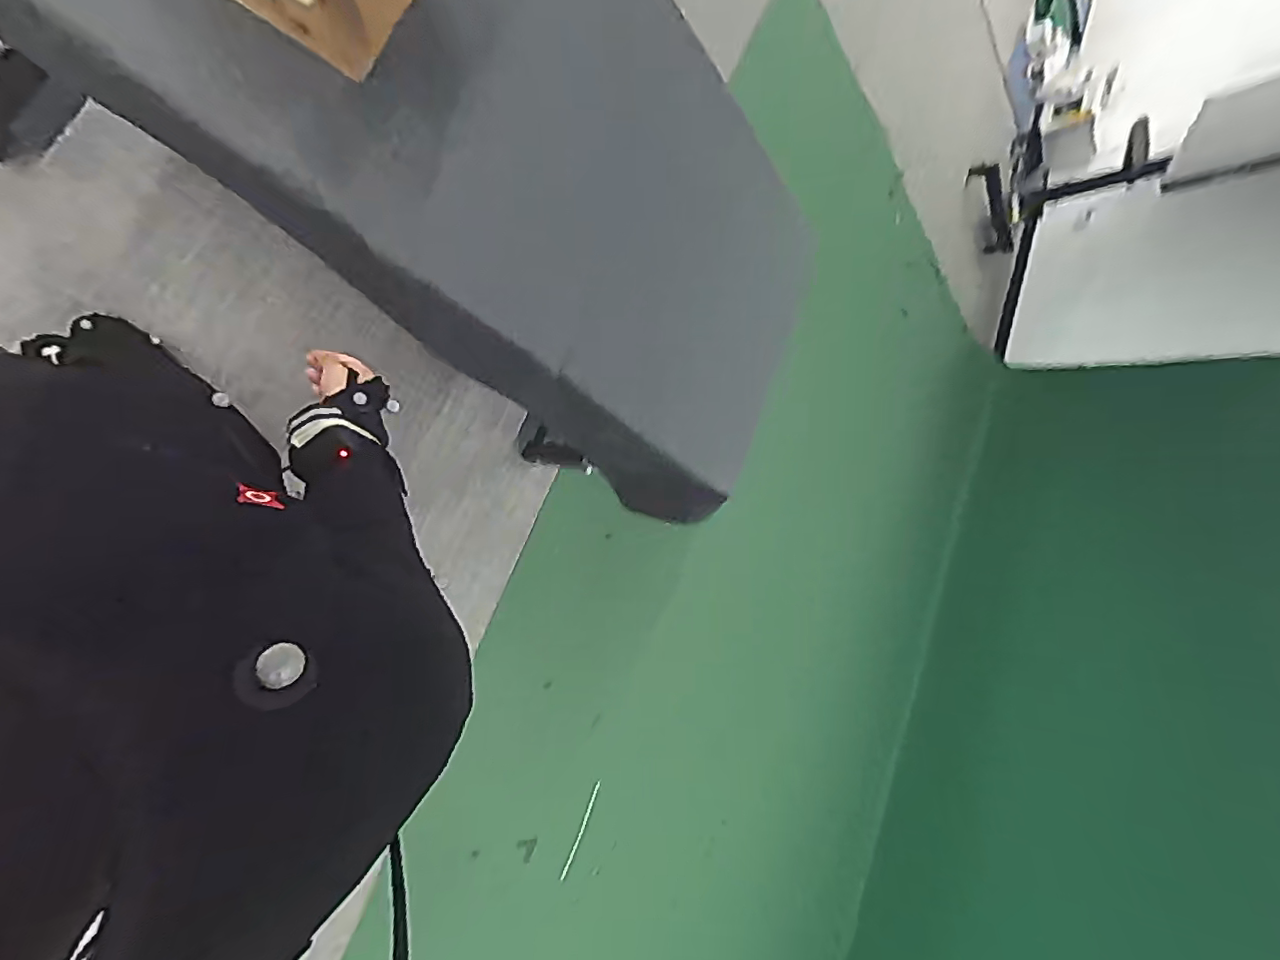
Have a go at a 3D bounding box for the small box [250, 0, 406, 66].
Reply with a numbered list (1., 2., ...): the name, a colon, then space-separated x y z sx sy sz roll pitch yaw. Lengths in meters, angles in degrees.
1. small box: -0.283 -0.525 0.467 0.168 0.176 0.179 17 84 -43
